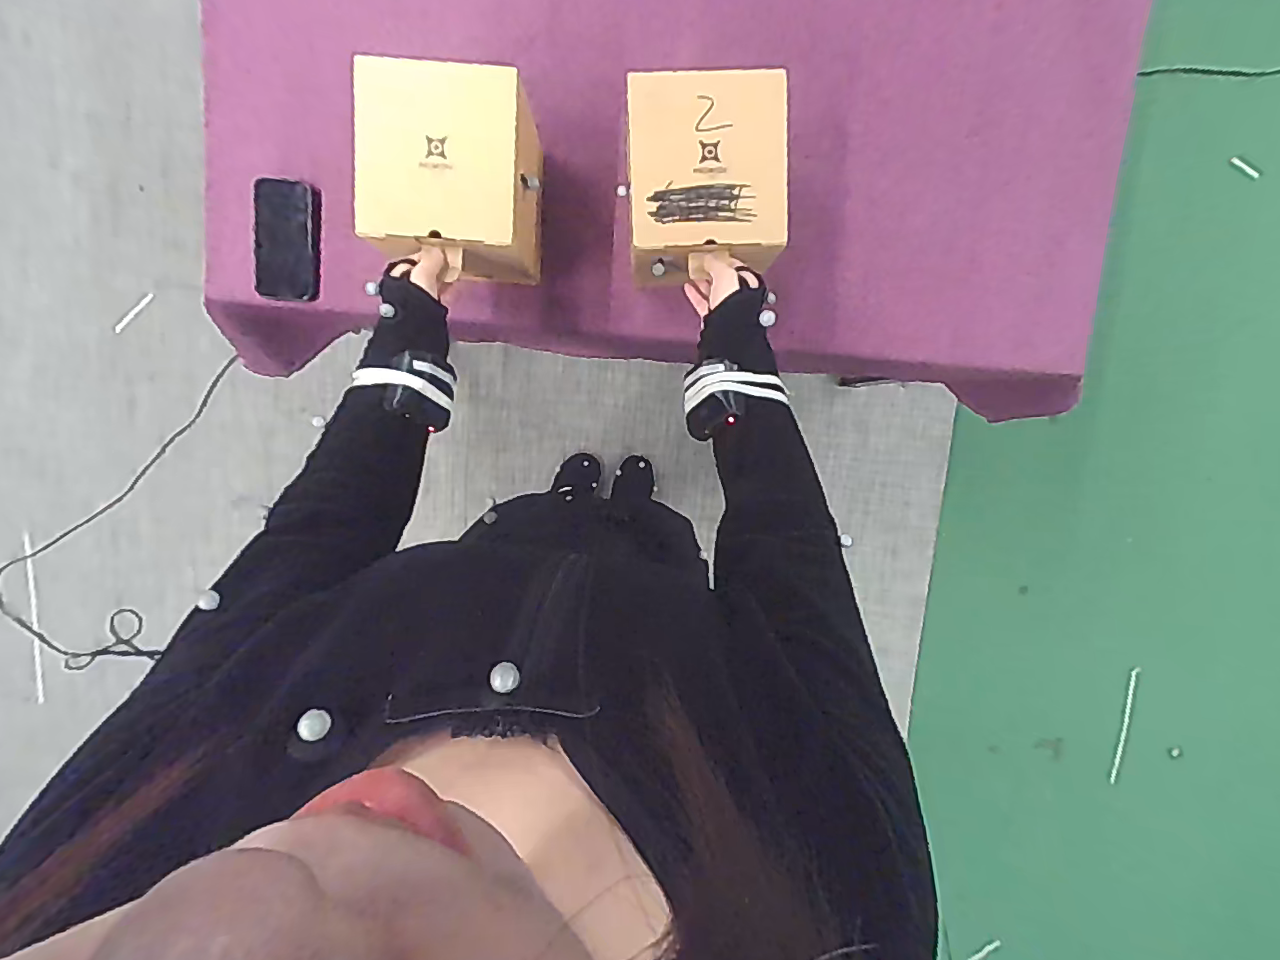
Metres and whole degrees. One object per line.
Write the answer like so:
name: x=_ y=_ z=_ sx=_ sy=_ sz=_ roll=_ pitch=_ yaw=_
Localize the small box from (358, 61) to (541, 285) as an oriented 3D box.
small box: x=-0.213 y=-0.347 z=0.644 sx=0.168 sy=0.176 sz=0.179 roll=3 pitch=97 yaw=-2
